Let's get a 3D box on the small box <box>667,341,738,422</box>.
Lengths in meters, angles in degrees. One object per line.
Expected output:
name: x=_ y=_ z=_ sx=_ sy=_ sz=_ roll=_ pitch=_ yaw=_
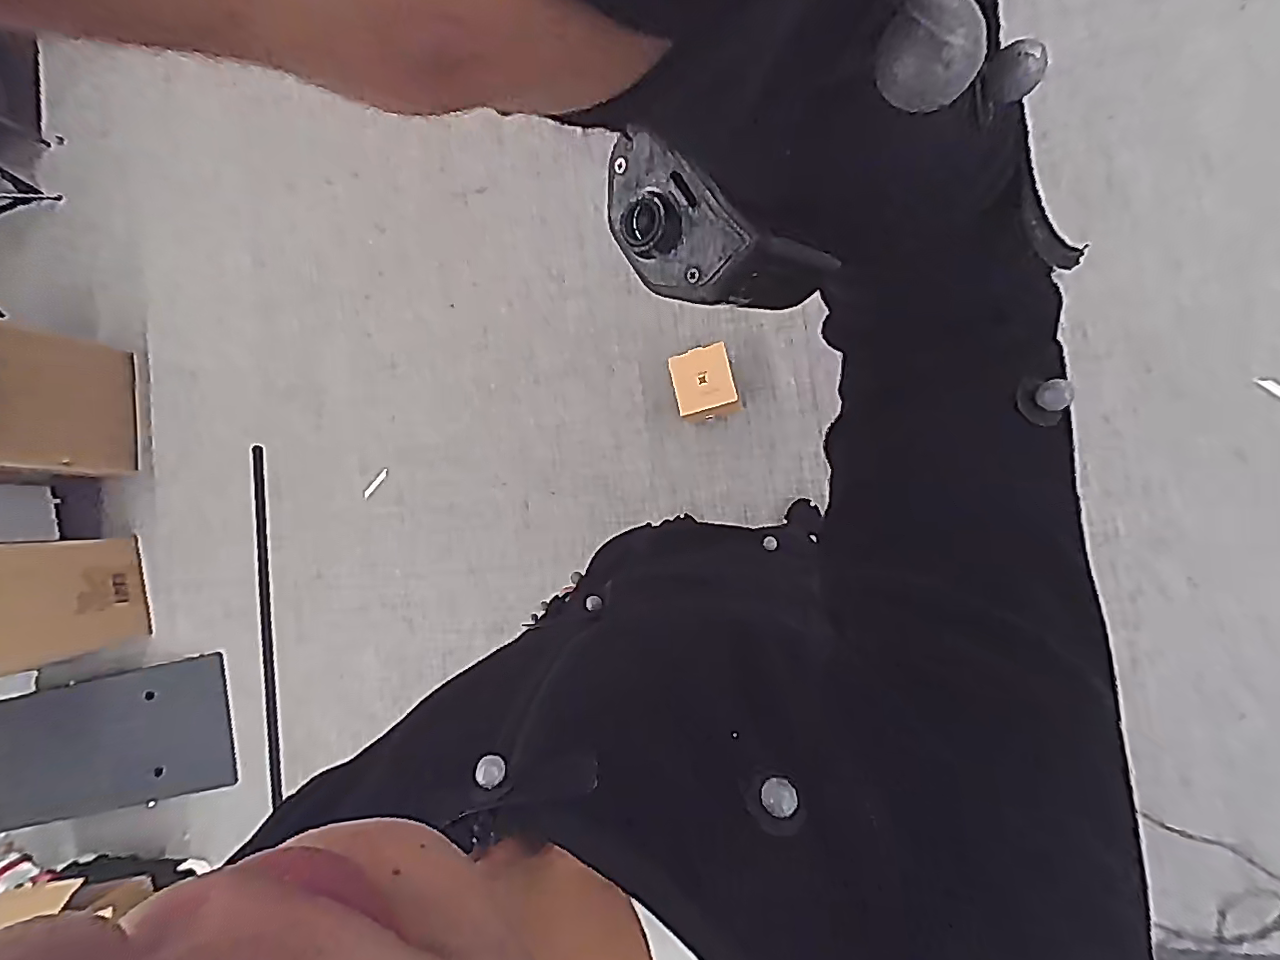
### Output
small box: x=0.186 y=-0.282 z=1.584 sx=0.168 sy=0.176 sz=0.179 roll=-14 pitch=84 yaw=14
